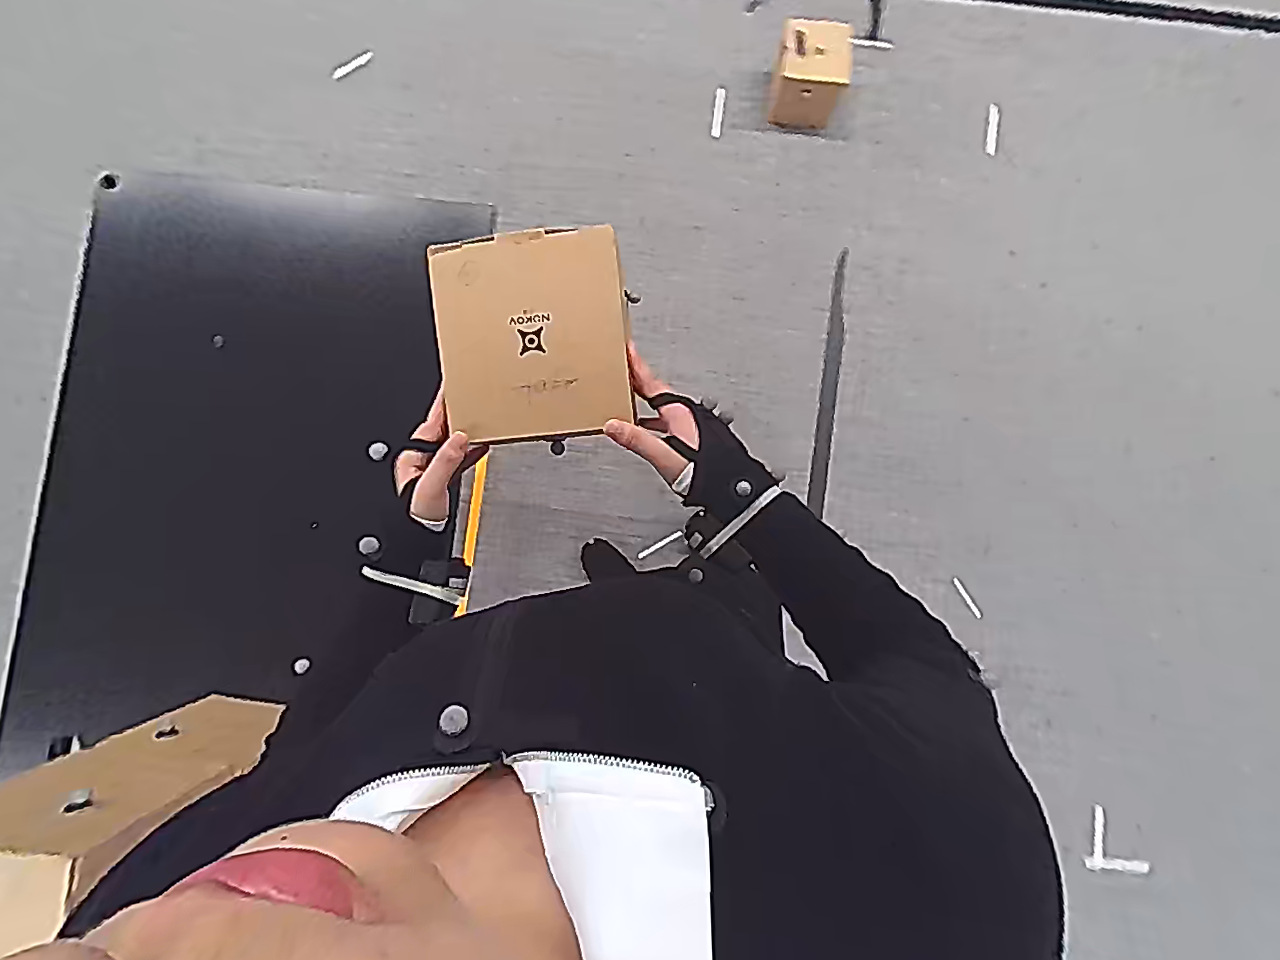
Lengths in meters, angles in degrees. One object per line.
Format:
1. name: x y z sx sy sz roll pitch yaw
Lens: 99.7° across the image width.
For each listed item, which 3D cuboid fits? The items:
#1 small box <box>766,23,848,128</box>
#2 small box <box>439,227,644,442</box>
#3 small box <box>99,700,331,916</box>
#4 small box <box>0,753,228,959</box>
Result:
1. small box: 0.457 -1.117 1.506 0.179 0.176 0.168 5 86 0
2. small box: -0.085 -0.131 0.549 0.168 0.176 0.179 -5 94 3
3. small box: -0.532 0.393 0.680 0.179 0.176 0.168 8 86 1
4. small box: -0.544 0.383 0.517 0.179 0.176 0.168 5 86 0
